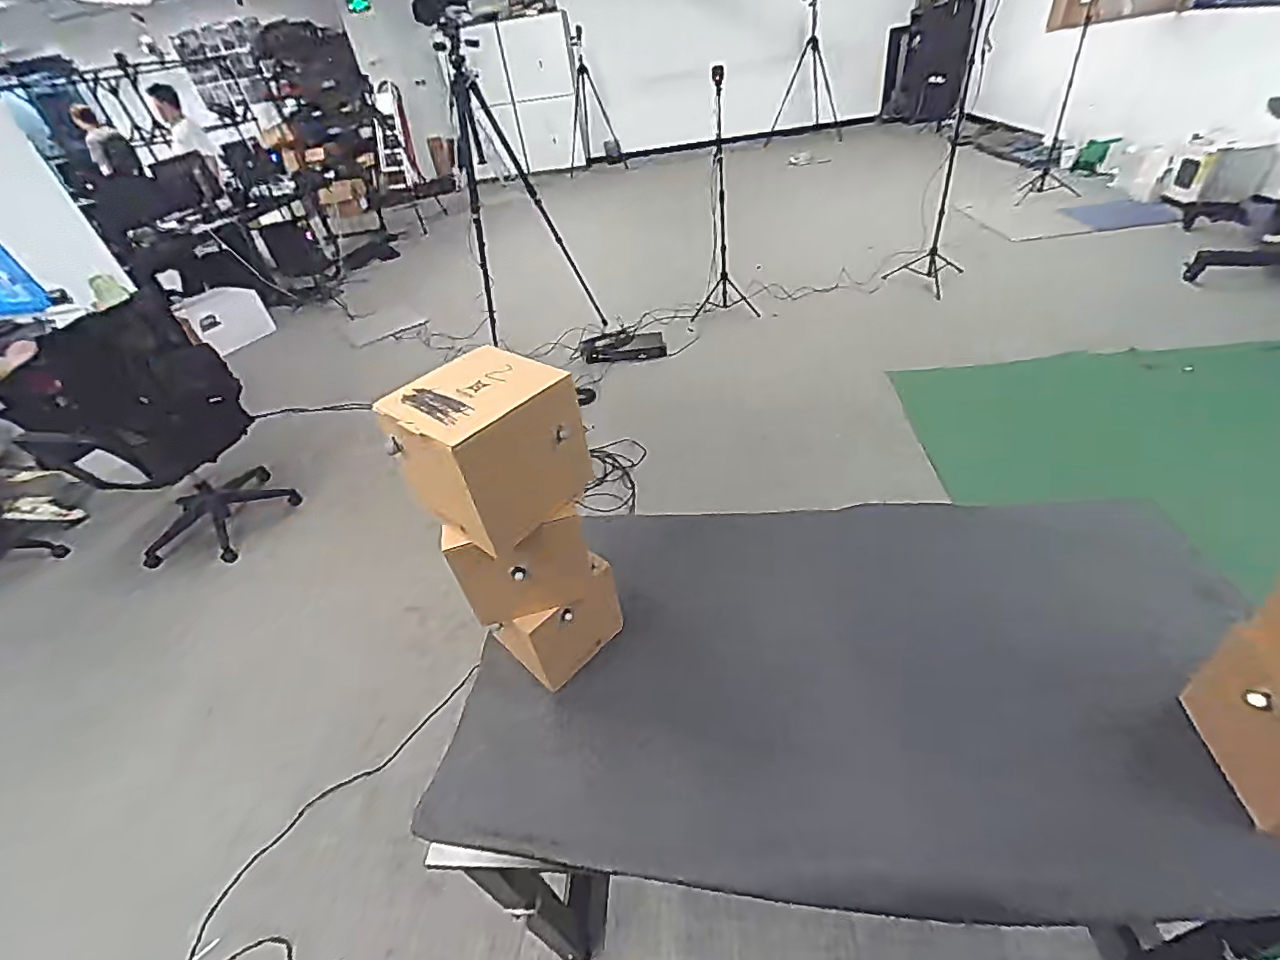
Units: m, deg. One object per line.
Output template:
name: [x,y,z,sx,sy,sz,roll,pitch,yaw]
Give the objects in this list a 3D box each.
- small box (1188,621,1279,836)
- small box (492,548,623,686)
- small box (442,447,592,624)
small box: [0.778,0.284,0.597,0.168,0.176,0.179,1,38,15]
small box: [-0.151,0.204,0.901,0.179,0.176,0.168,28,52,36]
small box: [-0.174,0.081,0.793,0.179,0.176,0.168,-16,40,-6]
